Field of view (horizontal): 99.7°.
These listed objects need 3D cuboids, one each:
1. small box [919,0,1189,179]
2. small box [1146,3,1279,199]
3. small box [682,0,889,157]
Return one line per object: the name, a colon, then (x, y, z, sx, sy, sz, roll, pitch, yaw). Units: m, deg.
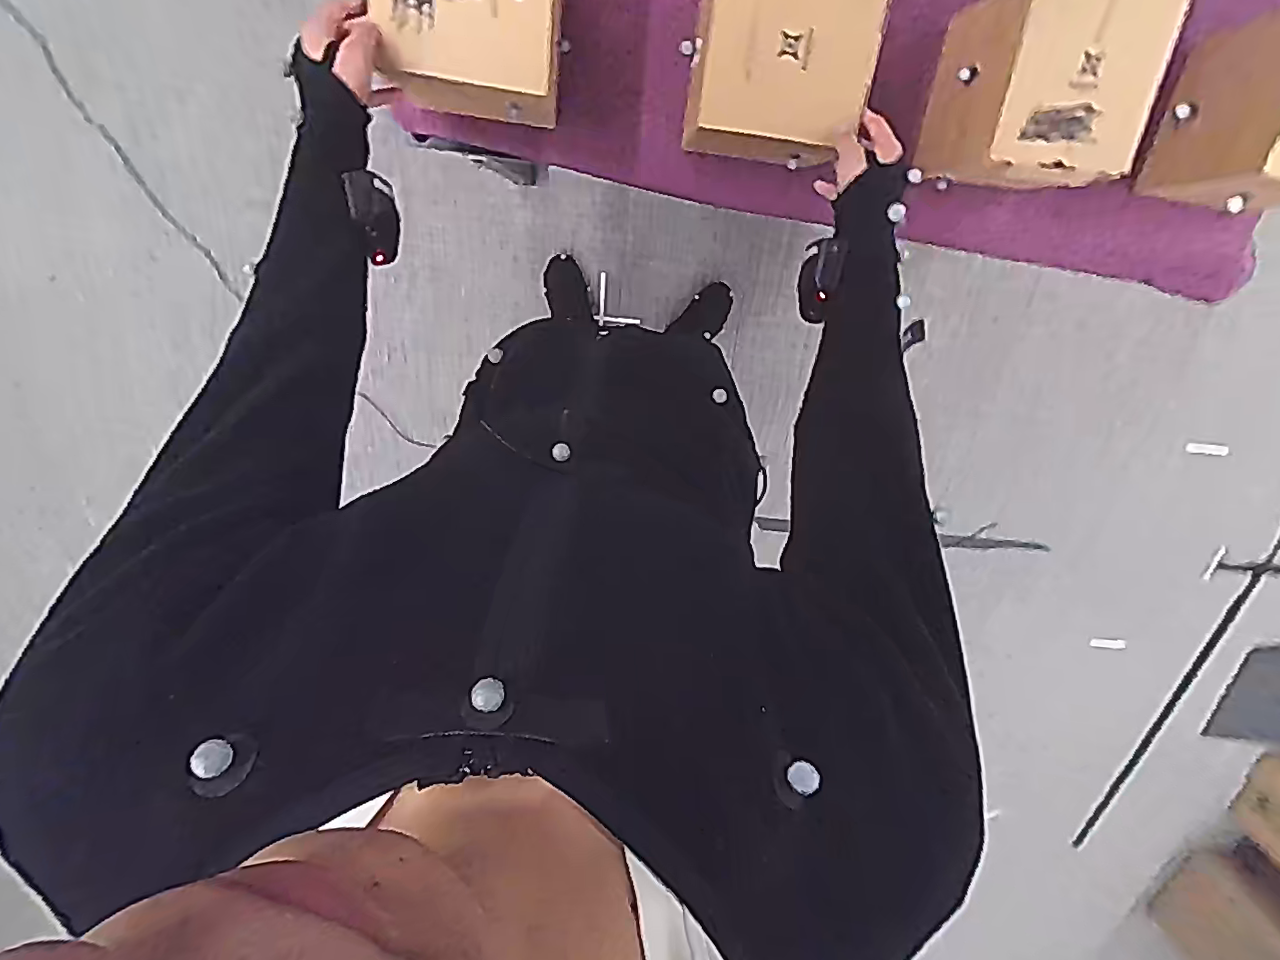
small box: (0.461, -0.464, 0.634, 0.168, 0.176, 0.179, 3, 113, -4)
small box: (0.782, -0.451, 0.652, 0.168, 0.176, 0.179, 7, 112, -5)
small box: (0.153, -0.479, 0.614, 0.179, 0.176, 0.168, 5, 113, -5)
